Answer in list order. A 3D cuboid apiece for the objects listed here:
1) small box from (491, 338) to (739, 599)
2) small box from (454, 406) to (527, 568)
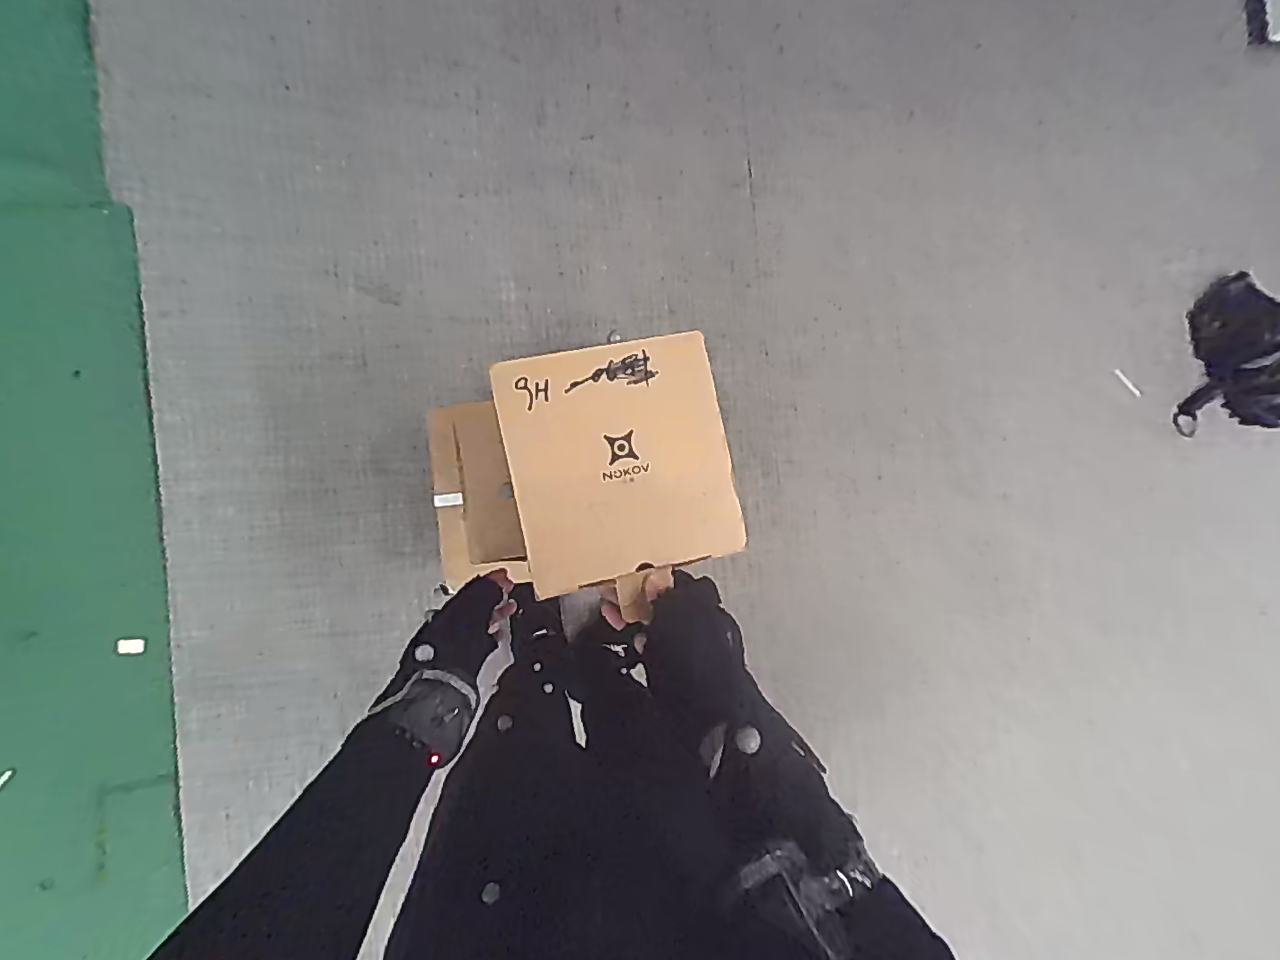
[{"bbox_3d":[-0.029,-0.010,0.489,0.168,0.176,0.179,-12,90,-11],"label":"small box"},{"bbox_3d":[-0.121,-0.004,0.670,0.168,0.176,0.179,-8,94,-9],"label":"small box"}]
